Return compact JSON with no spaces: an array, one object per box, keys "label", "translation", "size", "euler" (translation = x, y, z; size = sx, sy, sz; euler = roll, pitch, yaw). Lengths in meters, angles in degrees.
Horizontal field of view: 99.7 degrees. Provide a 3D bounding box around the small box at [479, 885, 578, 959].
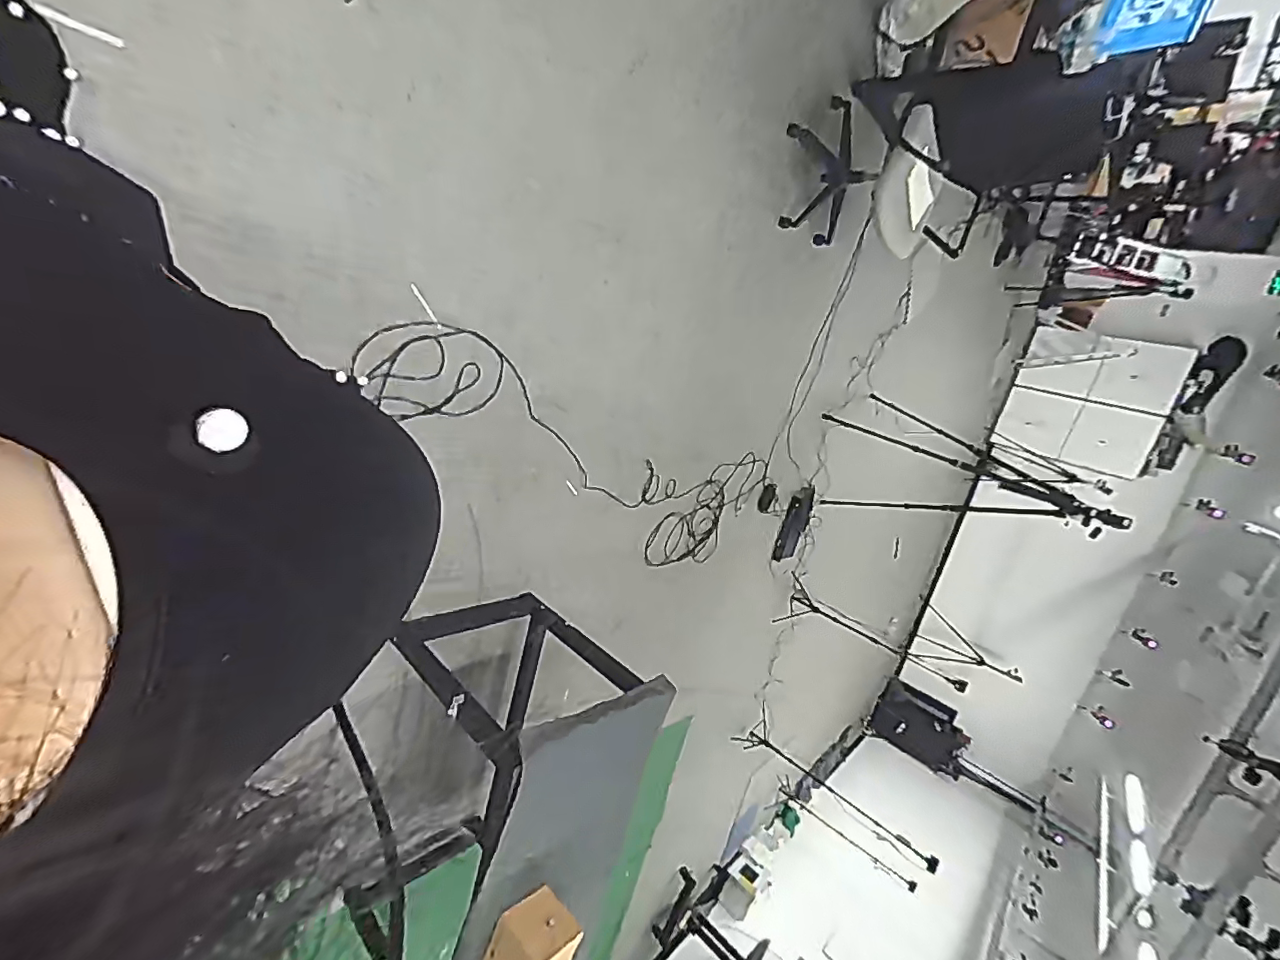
[{"label":"small box","translation":[-0.306,1.270,1.482],"size":[0.179,0.176,0.168],"euler":[11,100,-55]}]
